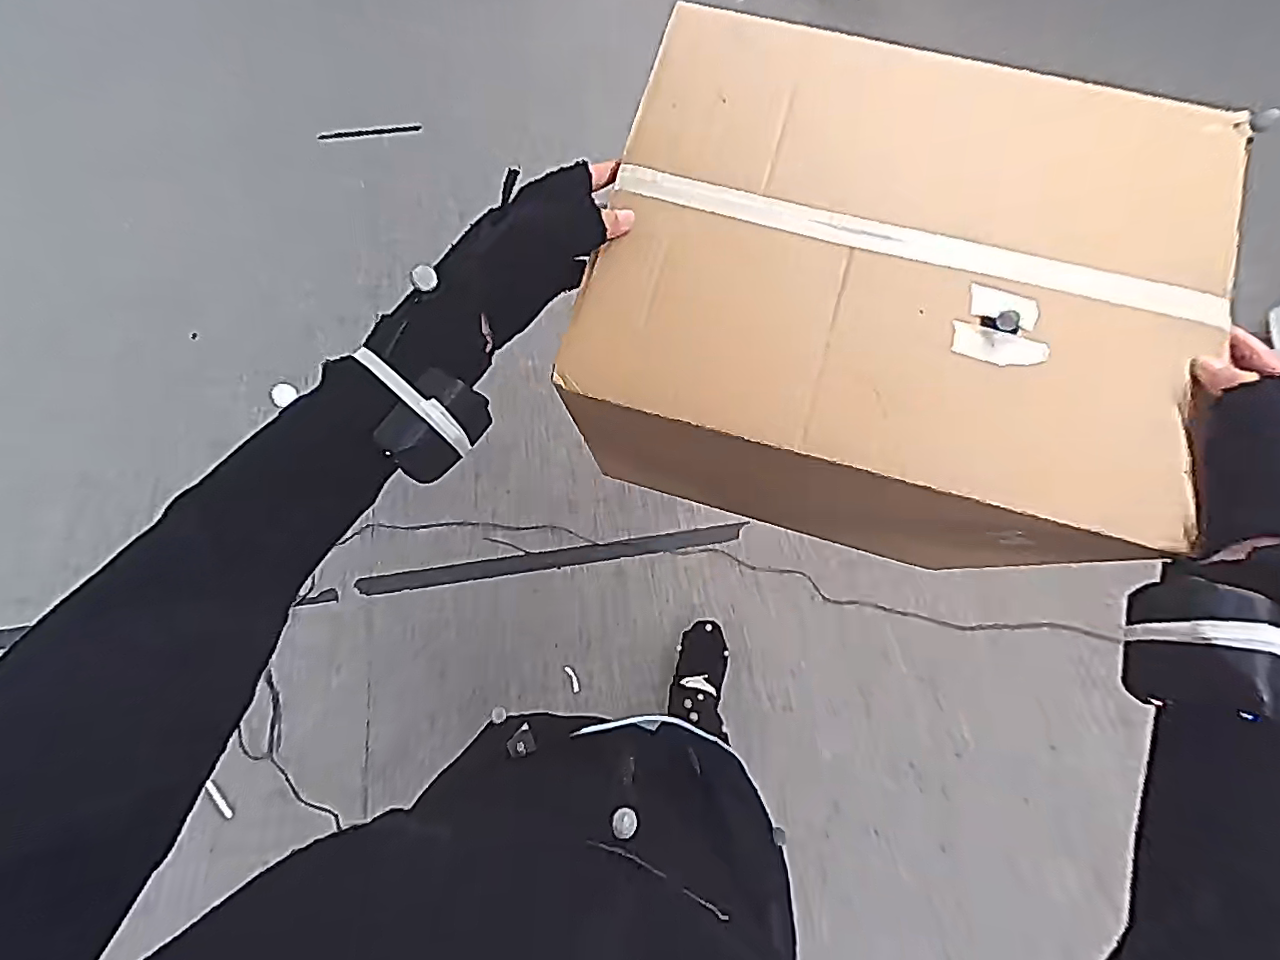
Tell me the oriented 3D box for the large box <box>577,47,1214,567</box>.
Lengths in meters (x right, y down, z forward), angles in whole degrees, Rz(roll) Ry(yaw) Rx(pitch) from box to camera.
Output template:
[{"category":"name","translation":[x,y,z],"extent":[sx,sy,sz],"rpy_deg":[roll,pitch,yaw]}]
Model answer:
[{"category":"large box","translation":[0.187,-0.118,0.526],"extent":[0.408,0.320,0.320],"rpy_deg":[16,81,4]}]
